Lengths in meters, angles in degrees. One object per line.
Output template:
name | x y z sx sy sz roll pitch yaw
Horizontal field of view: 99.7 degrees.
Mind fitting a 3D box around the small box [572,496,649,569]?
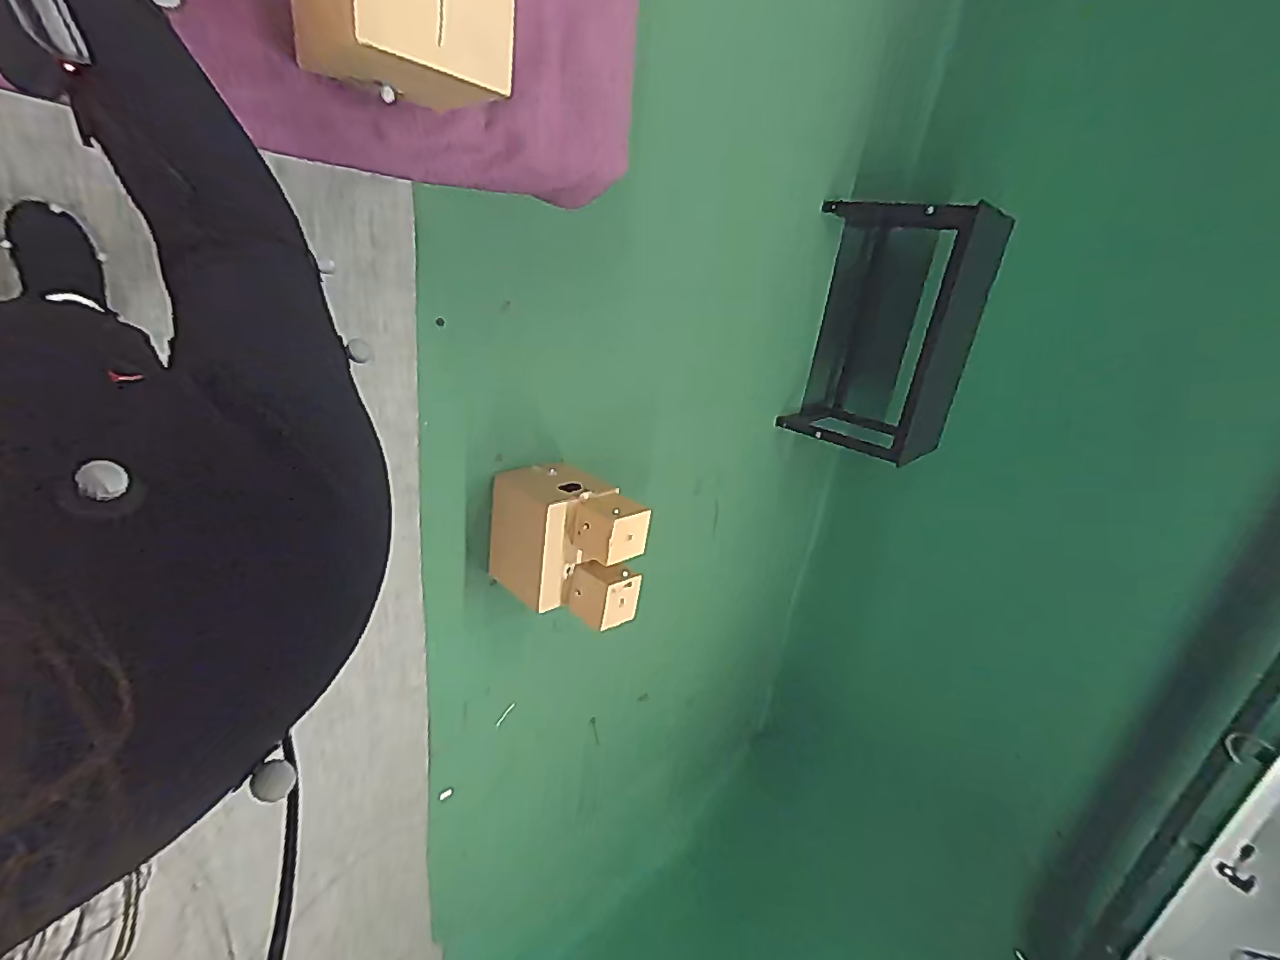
small box | -0.098 0.165 1.773 0.179 0.176 0.168 -12 119 -46

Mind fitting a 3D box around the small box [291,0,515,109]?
small box | -0.245 -0.510 0.554 0.168 0.176 0.179 -14 120 -44

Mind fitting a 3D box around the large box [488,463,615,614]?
large box | -0.322 0.190 1.922 0.320 0.320 0.408 -12 119 -45

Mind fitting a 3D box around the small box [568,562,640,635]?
small box | -0.129 0.397 1.860 0.168 0.176 0.179 -7 114 -48
